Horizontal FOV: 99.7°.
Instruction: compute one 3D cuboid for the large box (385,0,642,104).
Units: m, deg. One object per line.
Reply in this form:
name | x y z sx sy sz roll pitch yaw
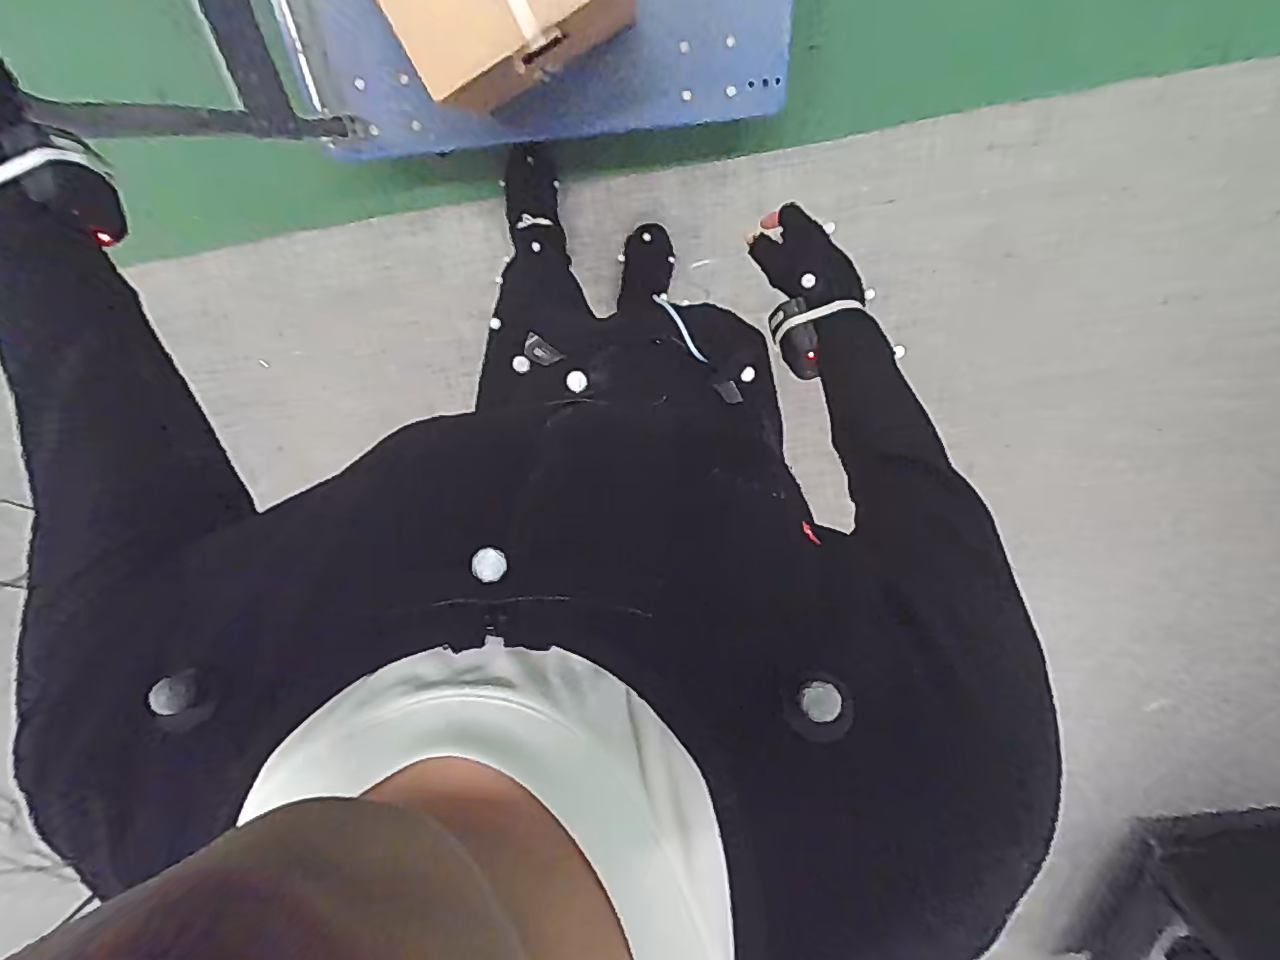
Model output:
large box | -0.218 -0.805 0.725 0.320 0.320 0.408 -22 119 13
